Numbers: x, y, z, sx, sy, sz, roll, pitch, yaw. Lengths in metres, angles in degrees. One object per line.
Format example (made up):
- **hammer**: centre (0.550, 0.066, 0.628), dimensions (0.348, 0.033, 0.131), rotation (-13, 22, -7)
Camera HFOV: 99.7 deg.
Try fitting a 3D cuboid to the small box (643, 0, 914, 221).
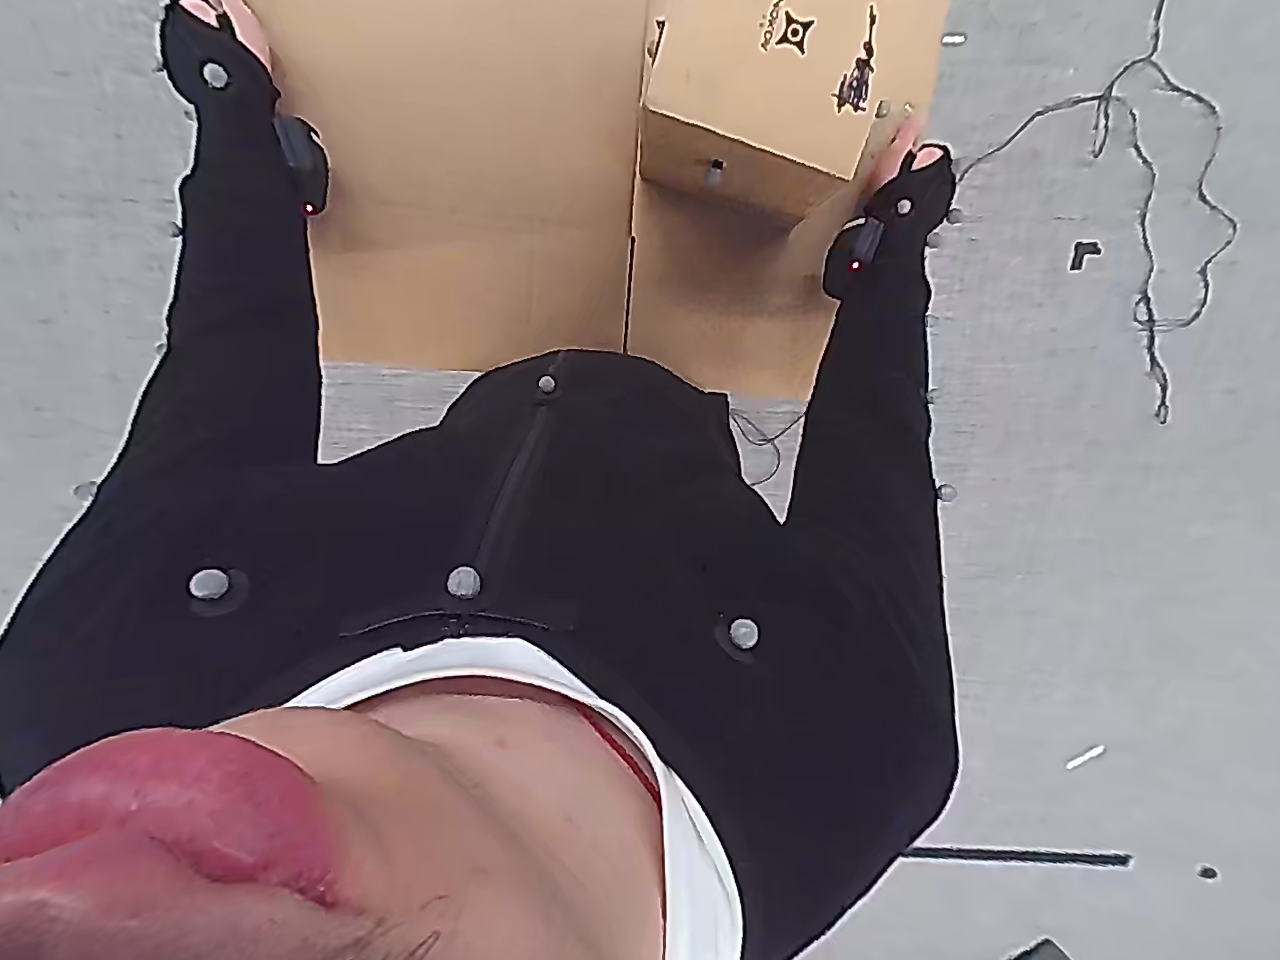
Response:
- **small box**: centre (0.110, -0.357, 0.487), dimensions (0.179, 0.176, 0.168), rotation (17, 102, -3)
